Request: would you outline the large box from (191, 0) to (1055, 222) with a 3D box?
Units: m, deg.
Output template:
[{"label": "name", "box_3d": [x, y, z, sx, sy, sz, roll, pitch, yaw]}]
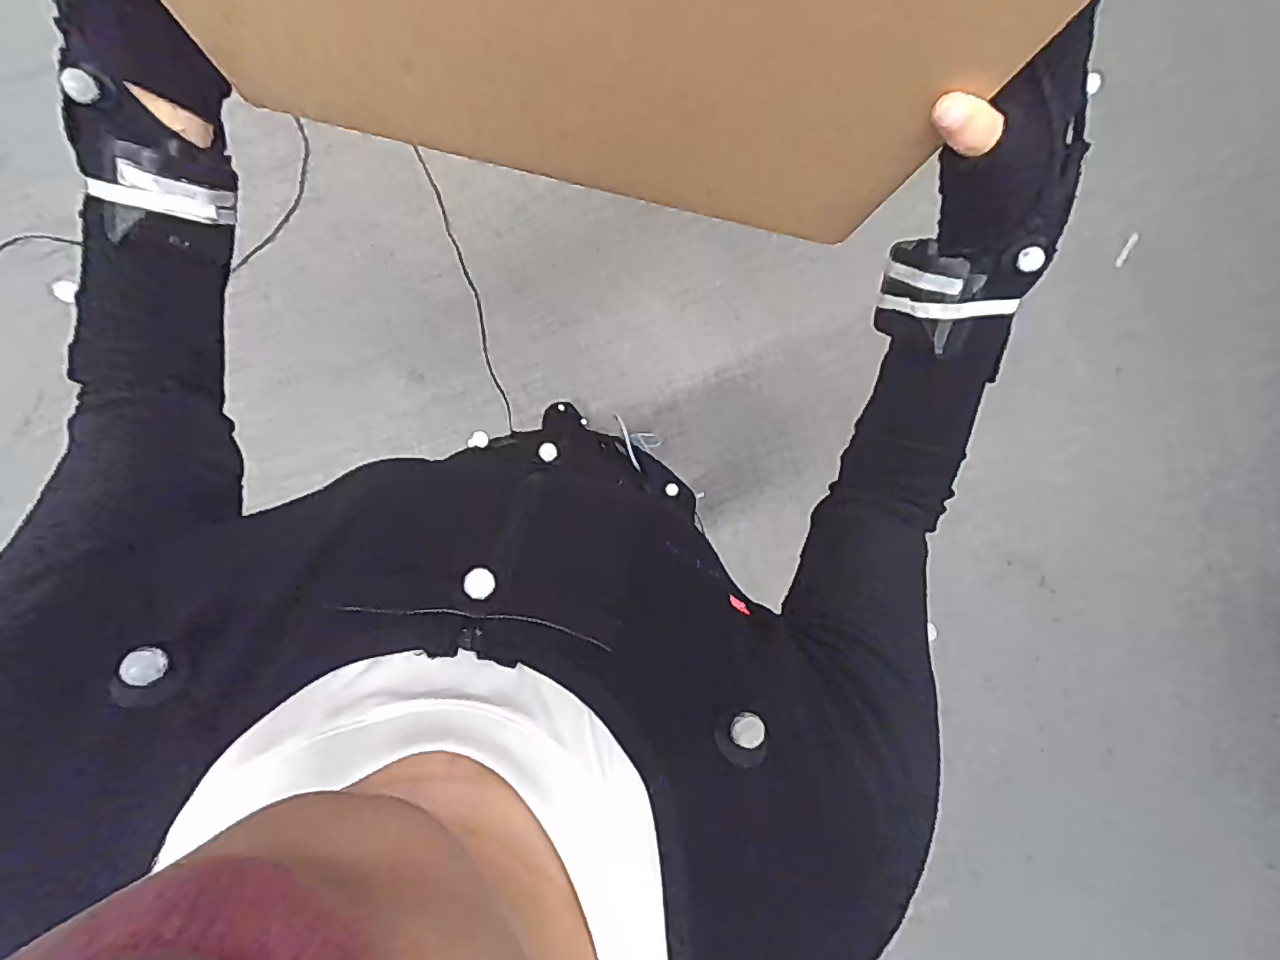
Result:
[{"label": "large box", "box_3d": [-0.008, -0.365, 0.224, 0.408, 0.320, 0.320, 11, 88, -7]}]
